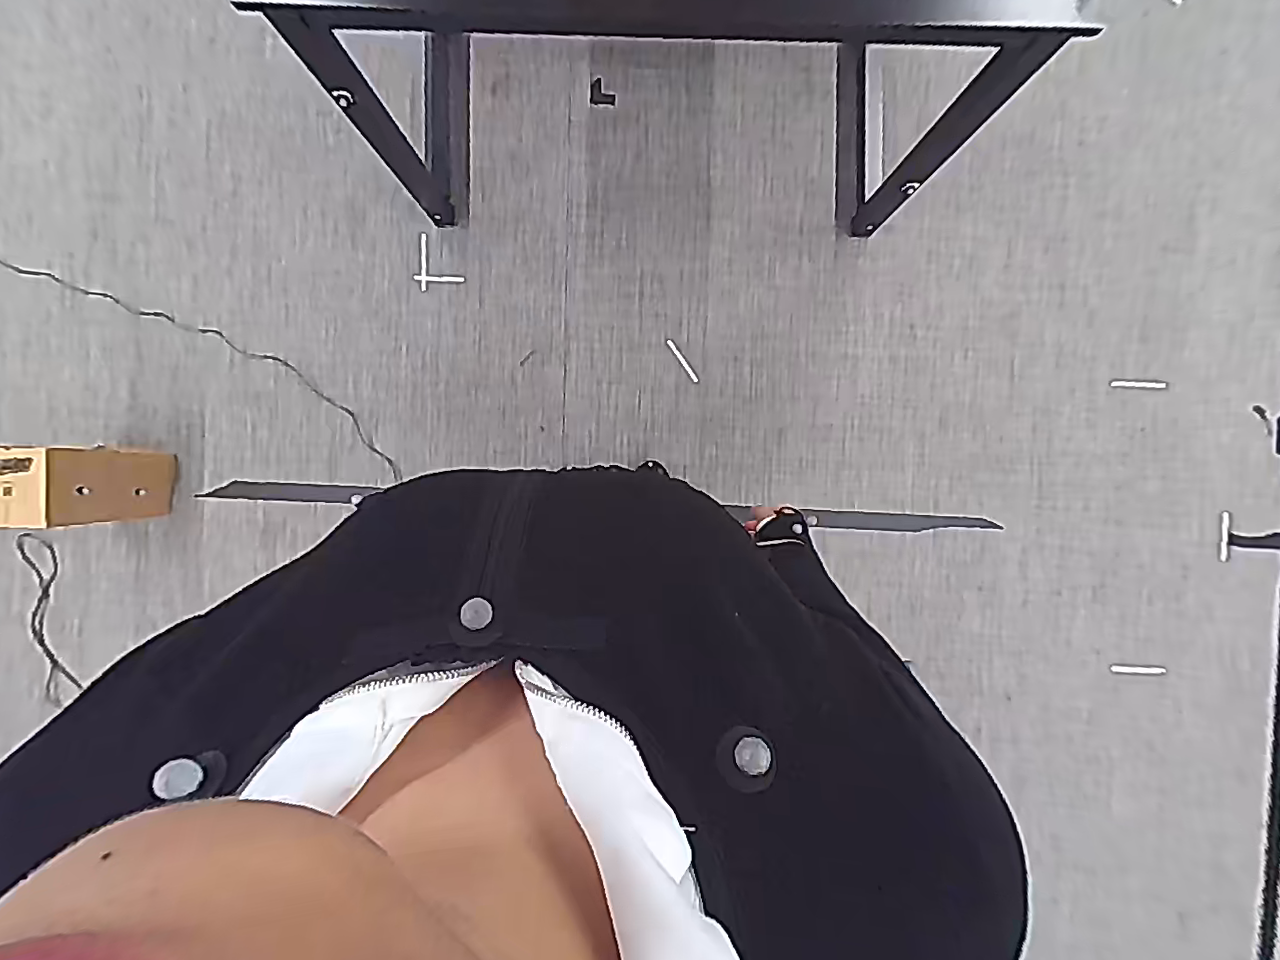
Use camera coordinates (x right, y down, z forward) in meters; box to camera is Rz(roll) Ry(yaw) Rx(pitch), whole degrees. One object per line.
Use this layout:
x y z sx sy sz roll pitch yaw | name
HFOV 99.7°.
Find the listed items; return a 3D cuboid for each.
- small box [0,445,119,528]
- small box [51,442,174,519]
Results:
-1.339 0.012 1.225 0.168 0.176 0.179 2 92 -1 | small box
-1.354 0.003 1.390 0.168 0.176 0.179 8 92 -1 | small box
